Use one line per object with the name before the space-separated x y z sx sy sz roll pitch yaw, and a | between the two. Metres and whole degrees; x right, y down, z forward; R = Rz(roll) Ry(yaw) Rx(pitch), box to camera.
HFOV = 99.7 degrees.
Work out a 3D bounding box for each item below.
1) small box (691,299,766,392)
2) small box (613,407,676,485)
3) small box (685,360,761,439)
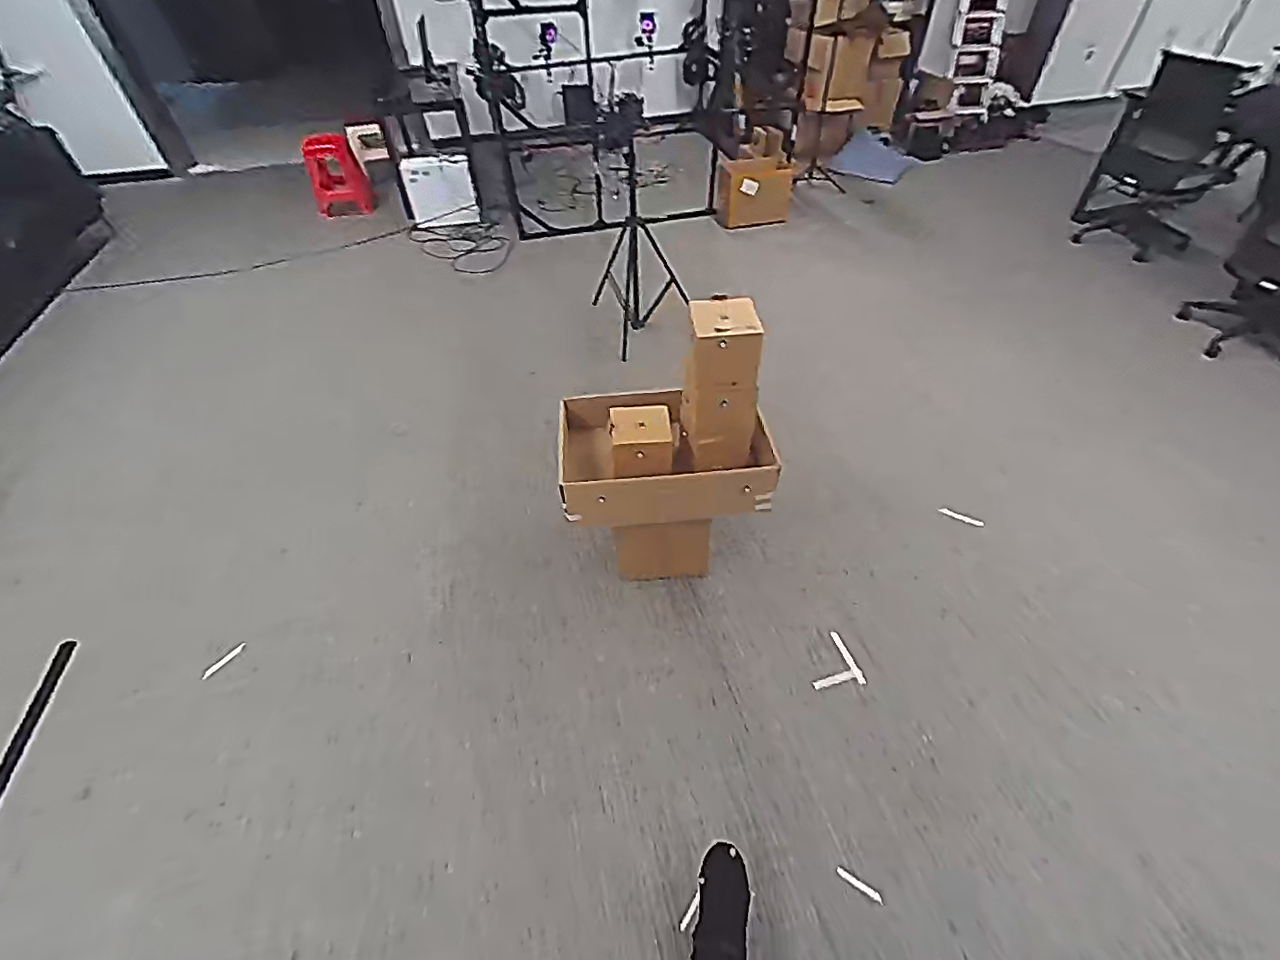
small box | 0.220 -0.348 1.401 0.168 0.176 0.179 -4 45 1
small box | 0.011 -0.100 1.631 0.179 0.176 0.168 -4 46 -2
small box | 0.227 -0.231 1.517 0.179 0.176 0.168 -8 46 -4
